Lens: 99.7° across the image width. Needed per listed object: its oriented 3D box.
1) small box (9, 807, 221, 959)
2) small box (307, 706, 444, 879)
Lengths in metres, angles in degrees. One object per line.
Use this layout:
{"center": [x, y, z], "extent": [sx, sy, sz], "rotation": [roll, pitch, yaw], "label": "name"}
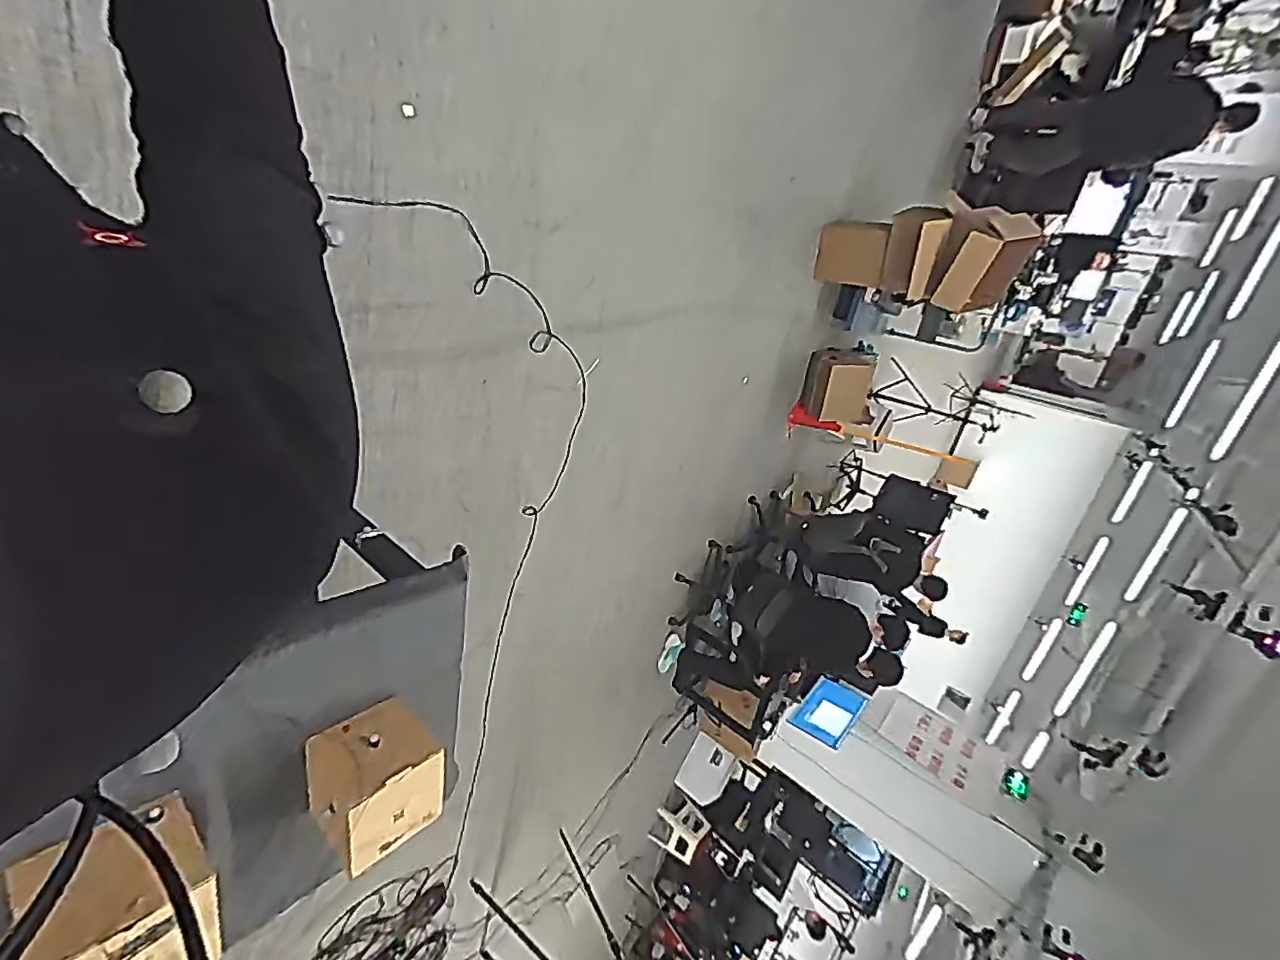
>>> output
{"center": [-0.673, 0.568, 0.700], "extent": [0.168, 0.176, 0.179], "rotation": [-13, 123, -50], "label": "small box"}
{"center": [-0.468, 0.534, 0.958], "extent": [0.168, 0.176, 0.179], "rotation": [-17, 124, -48], "label": "small box"}
